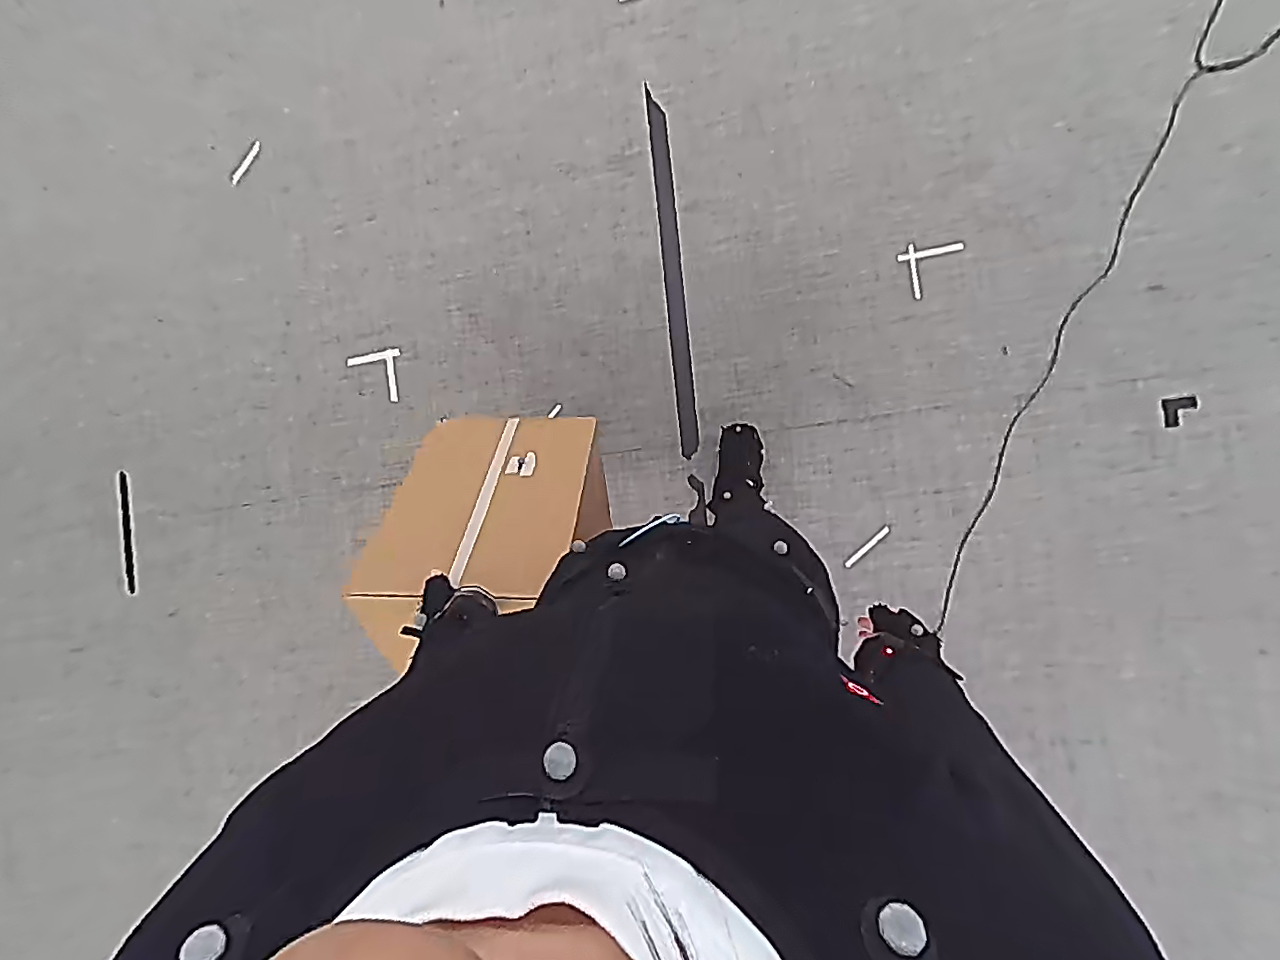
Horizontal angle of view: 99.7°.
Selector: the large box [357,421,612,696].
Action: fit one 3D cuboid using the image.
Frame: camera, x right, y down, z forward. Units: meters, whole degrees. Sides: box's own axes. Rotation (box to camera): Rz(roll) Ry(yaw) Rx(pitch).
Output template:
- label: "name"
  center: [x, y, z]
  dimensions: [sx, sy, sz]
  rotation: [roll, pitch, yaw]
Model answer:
- label: "large box"
  center: [-0.232, 0.136, 0.991]
  dimensions: [0.320, 0.408, 0.320]
  rotation: [0, 132, 4]
